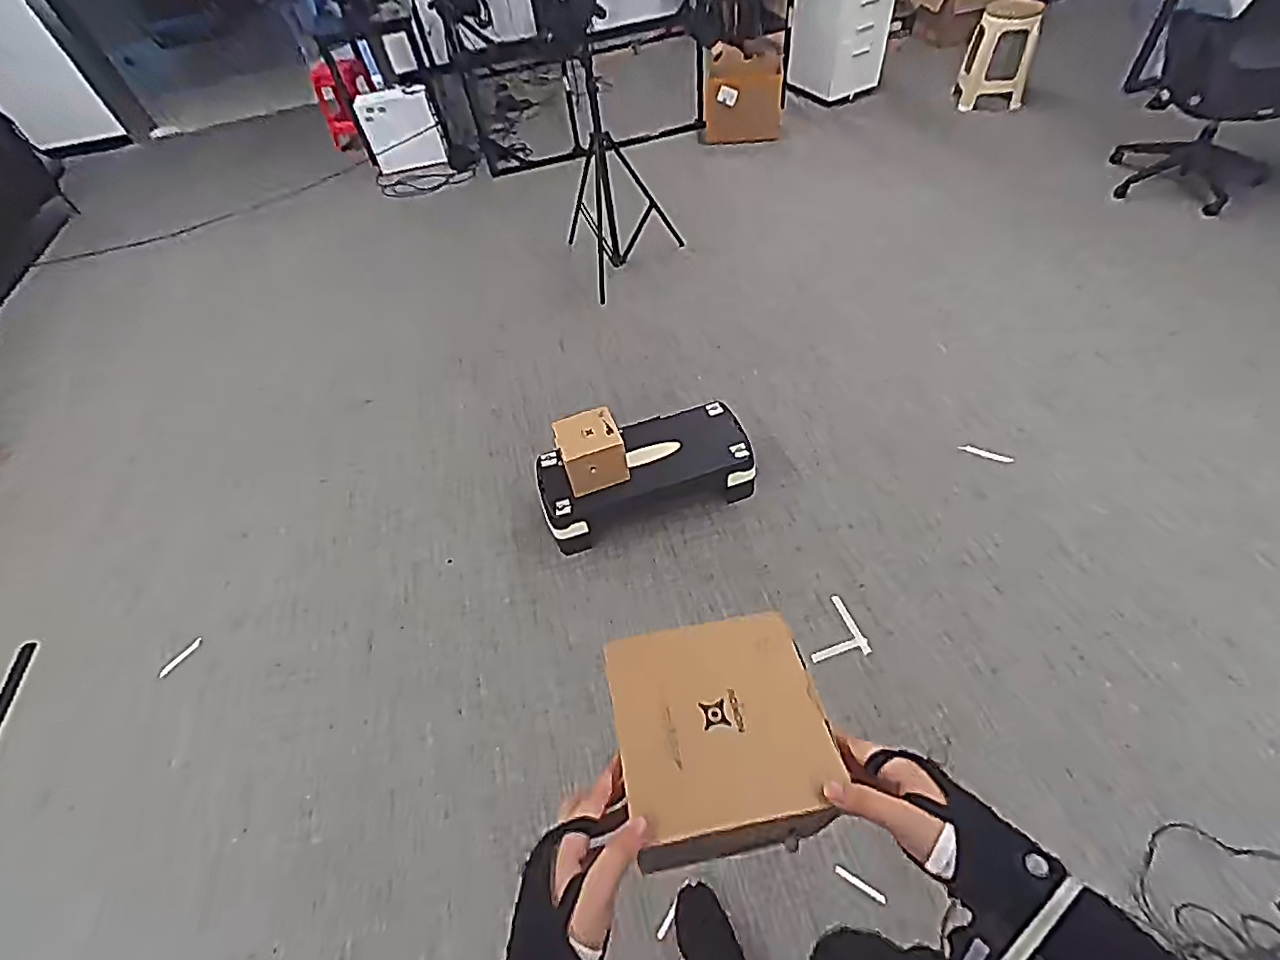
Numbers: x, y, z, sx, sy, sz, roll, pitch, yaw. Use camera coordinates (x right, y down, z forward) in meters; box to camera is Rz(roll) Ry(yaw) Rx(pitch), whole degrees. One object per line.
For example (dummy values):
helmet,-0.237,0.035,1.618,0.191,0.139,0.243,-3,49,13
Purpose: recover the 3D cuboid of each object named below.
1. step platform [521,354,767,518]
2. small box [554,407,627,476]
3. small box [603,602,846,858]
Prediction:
step platform,0.013,-0.128,1.576,0.684,0.204,0.286,-17,52,-6
small box,-0.145,-0.083,1.610,0.179,0.176,0.168,-20,53,-7
small box,0.066,0.244,0.524,0.179,0.176,0.168,-10,49,-6
